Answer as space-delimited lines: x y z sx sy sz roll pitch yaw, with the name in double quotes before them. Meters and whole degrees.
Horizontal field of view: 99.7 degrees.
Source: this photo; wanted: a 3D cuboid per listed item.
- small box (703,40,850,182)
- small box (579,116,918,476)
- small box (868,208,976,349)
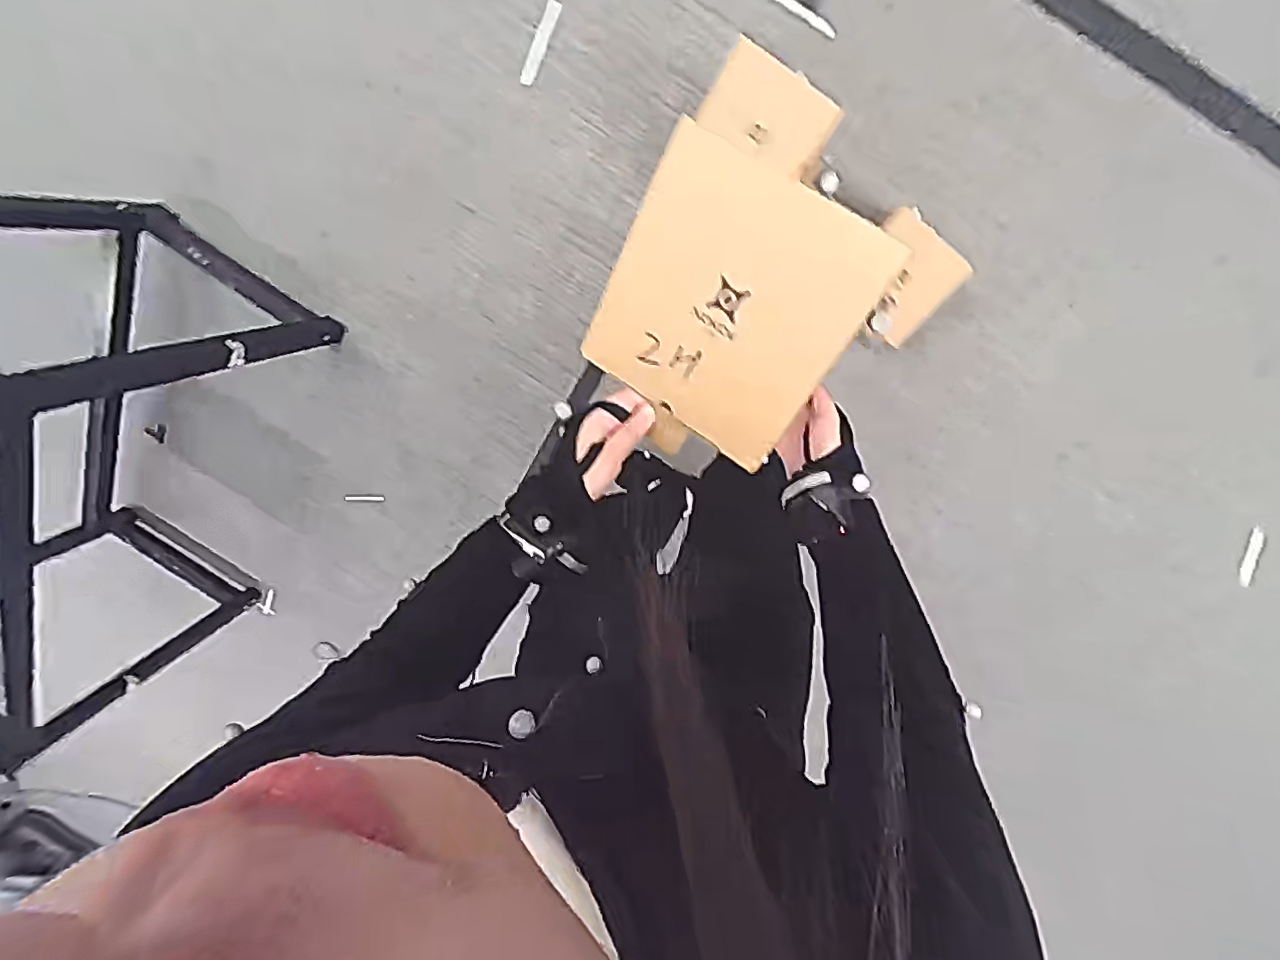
"small box" 0.195 -0.522 0.839 0.179 0.176 0.168 35 117 -2
"small box" 0.086 -0.139 0.426 0.168 0.176 0.179 36 122 9
"small box" 0.478 -0.378 1.017 0.168 0.176 0.179 39 116 -5
